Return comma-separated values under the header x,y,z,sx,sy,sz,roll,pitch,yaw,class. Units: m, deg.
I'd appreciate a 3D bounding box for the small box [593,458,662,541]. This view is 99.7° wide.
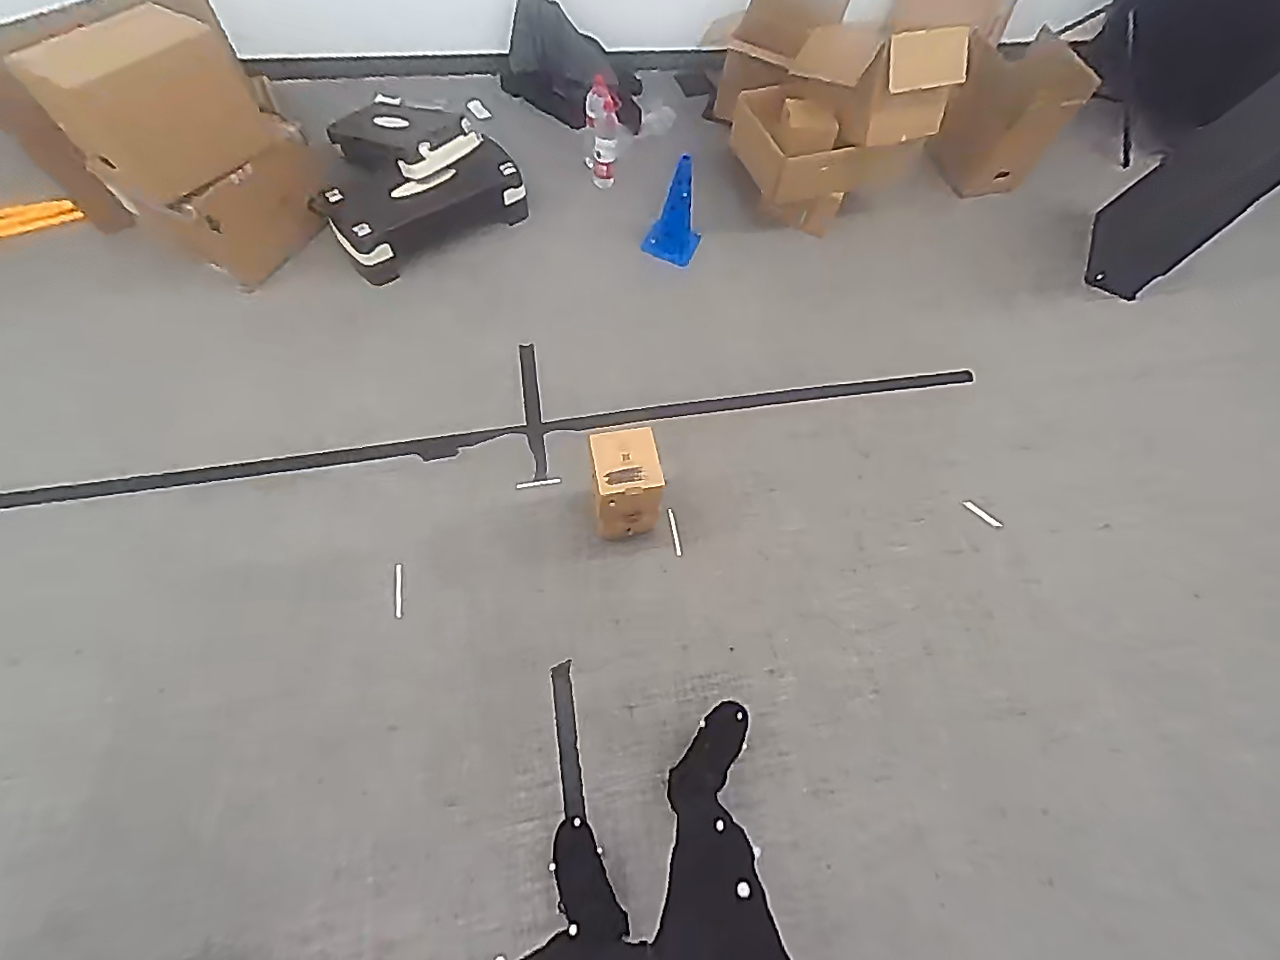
x,y,z,sx,sy,sz,roll,pitch,yaw,class
-0.043,0.059,1.582,0.168,0.176,0.179,-11,68,-10,small box
